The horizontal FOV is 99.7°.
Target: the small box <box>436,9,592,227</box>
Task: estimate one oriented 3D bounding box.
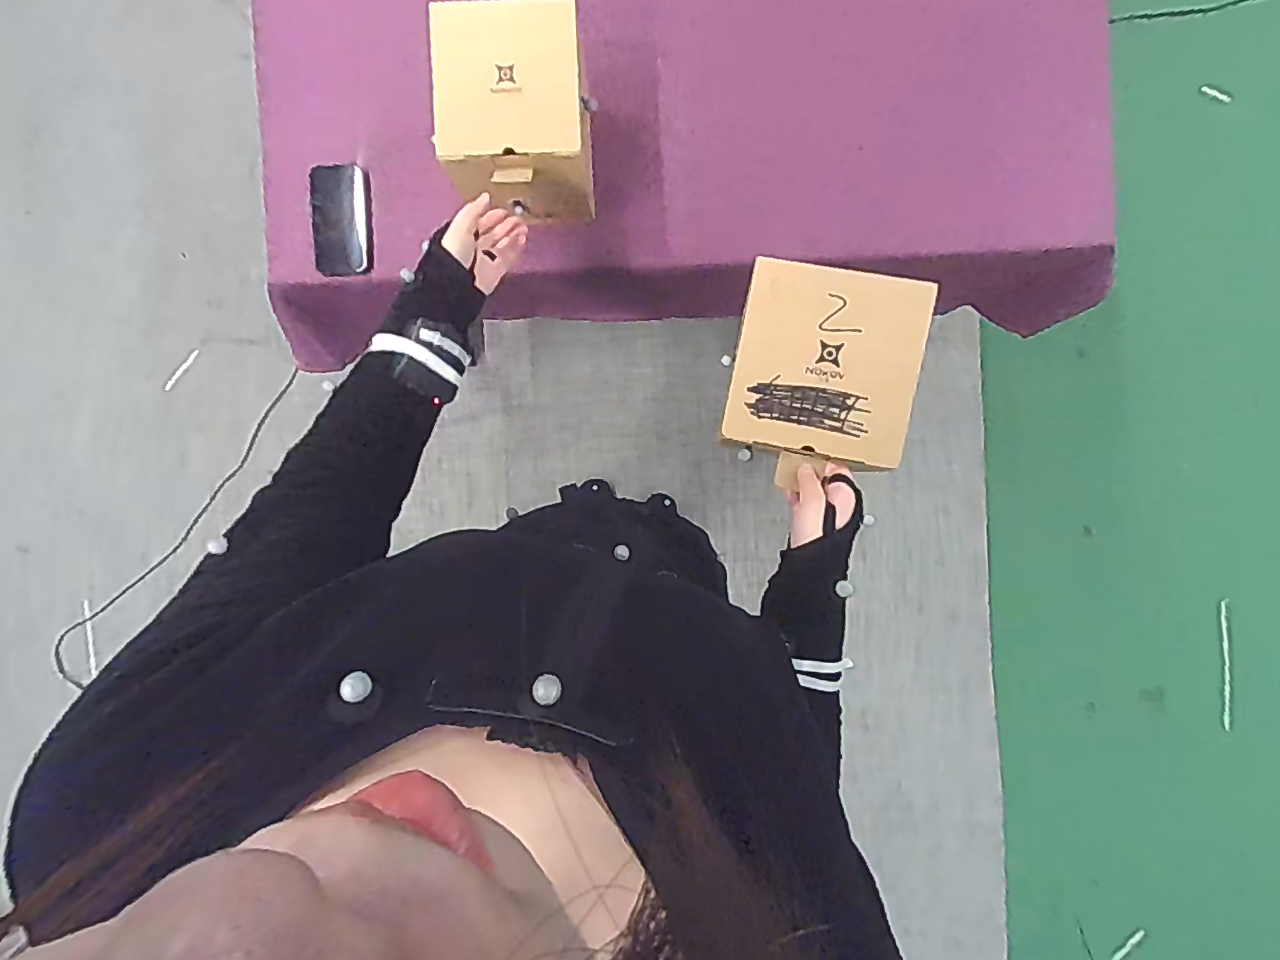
[{"bbox_3d":[-0.151,-0.449,0.695,0.168,0.176,0.179,-2,91,-1],"label":"small box"}]
